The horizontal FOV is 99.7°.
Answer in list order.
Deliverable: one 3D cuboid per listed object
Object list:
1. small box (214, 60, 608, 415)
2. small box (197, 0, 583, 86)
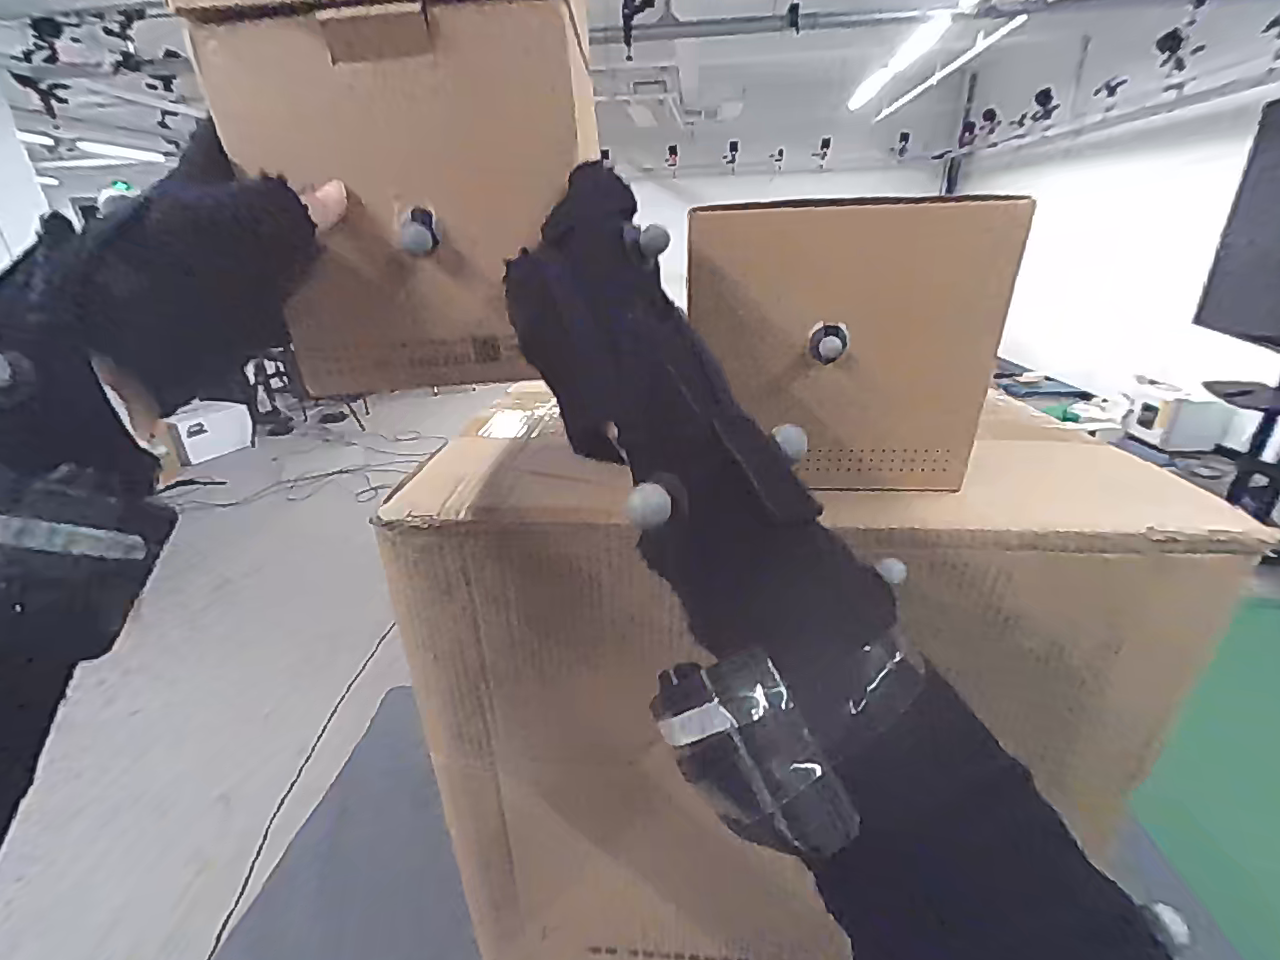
[{"bbox_3d":[-0.110,-0.145,0.355,0.168,0.176,0.179,-5,27,-1],"label":"small box"},{"bbox_3d":[-0.121,-0.305,0.269,0.168,0.176,0.179,-2,26,0],"label":"small box"}]
